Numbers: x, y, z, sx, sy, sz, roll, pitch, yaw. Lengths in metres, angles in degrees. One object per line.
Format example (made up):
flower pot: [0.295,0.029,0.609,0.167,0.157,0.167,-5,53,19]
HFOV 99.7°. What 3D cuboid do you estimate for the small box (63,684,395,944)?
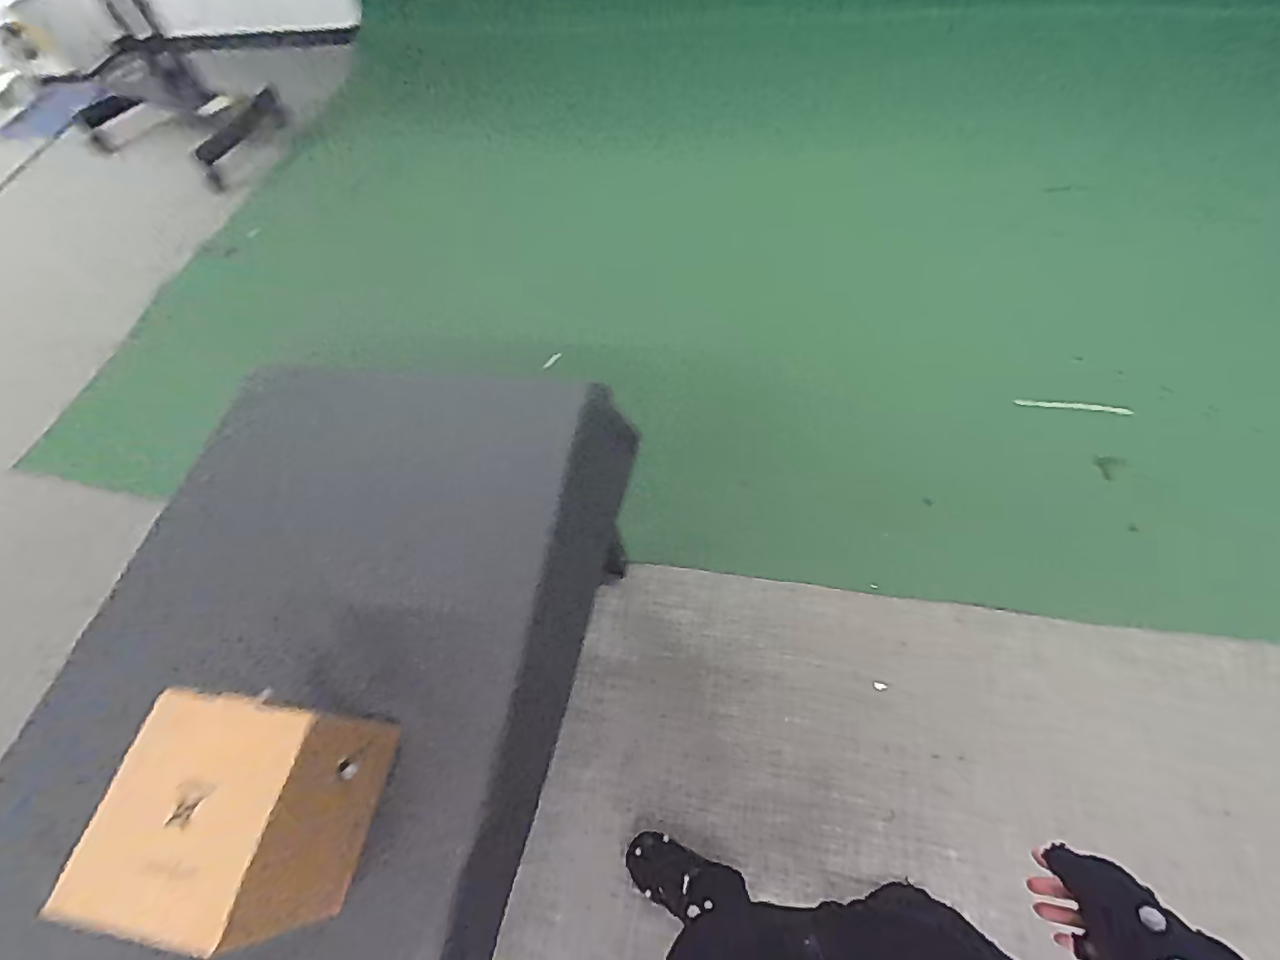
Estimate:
small box: [-0.378,0.318,0.543,0.168,0.176,0.179,4,62,10]
